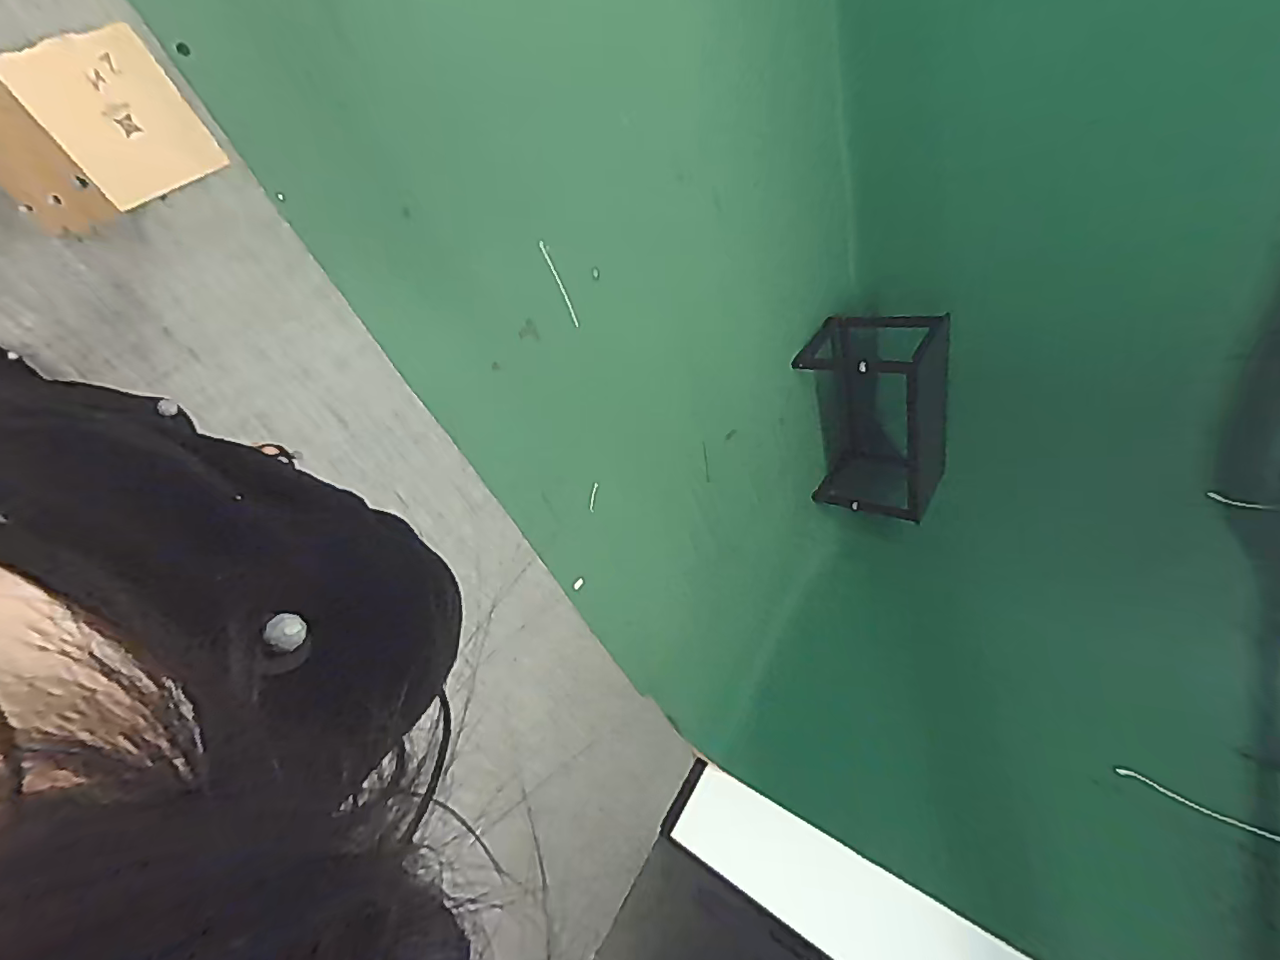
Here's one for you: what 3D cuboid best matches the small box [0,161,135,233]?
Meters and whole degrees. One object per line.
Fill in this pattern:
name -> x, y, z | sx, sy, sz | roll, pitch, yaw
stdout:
small box -> -1.006, -0.547, 0.936 | 0.179, 0.176, 0.168 | -50, 135, -30

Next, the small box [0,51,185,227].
small box -> -0.878, -0.519, 0.840 | 0.168, 0.176, 0.179 | -52, 138, -28
